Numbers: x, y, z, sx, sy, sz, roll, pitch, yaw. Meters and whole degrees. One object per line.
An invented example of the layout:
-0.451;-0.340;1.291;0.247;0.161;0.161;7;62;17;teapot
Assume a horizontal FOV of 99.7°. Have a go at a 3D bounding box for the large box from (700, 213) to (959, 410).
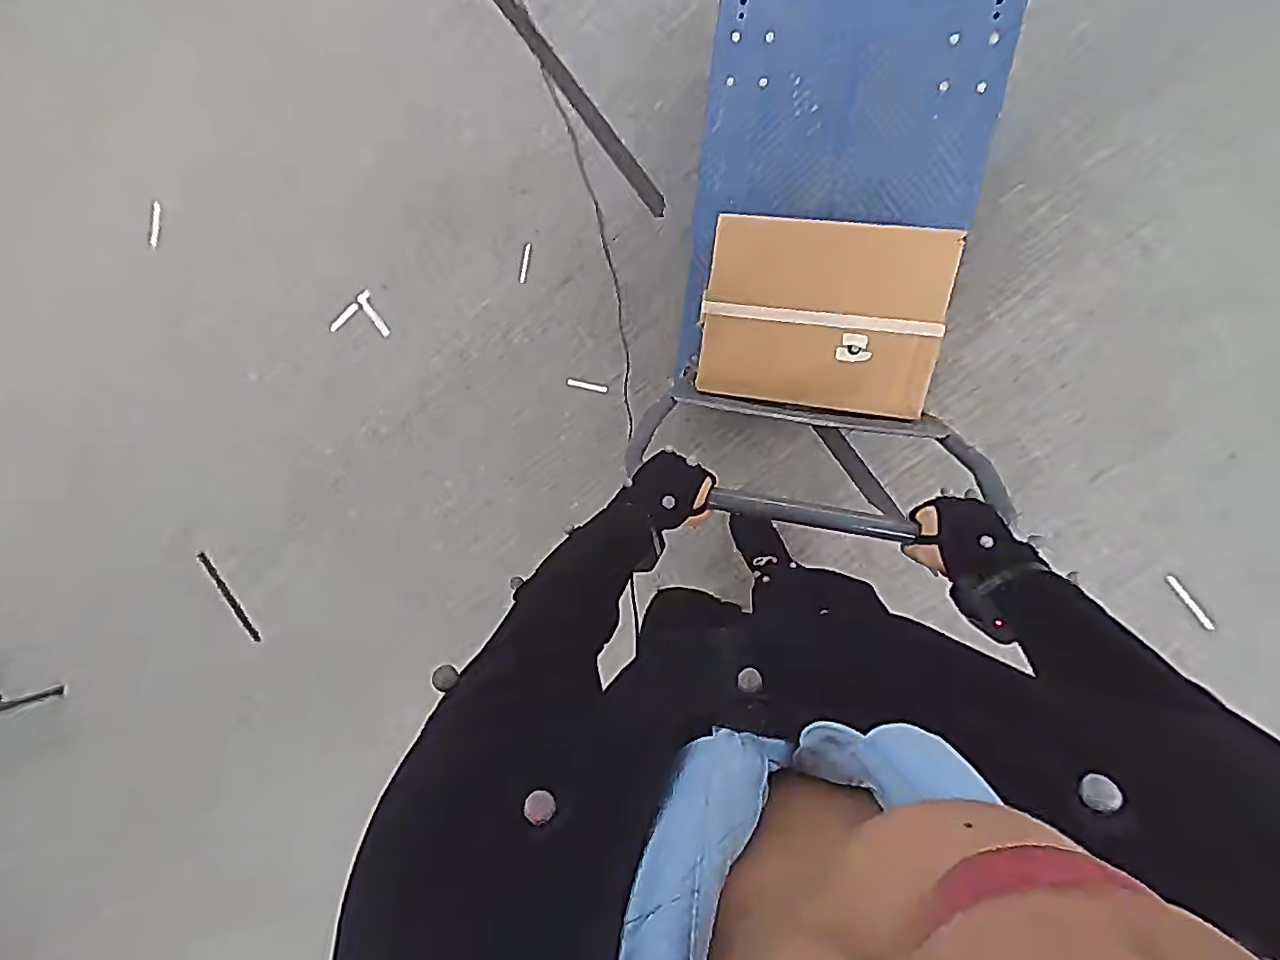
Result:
0.350;-0.337;1.108;0.408;0.320;0.320;9;108;10;large box
